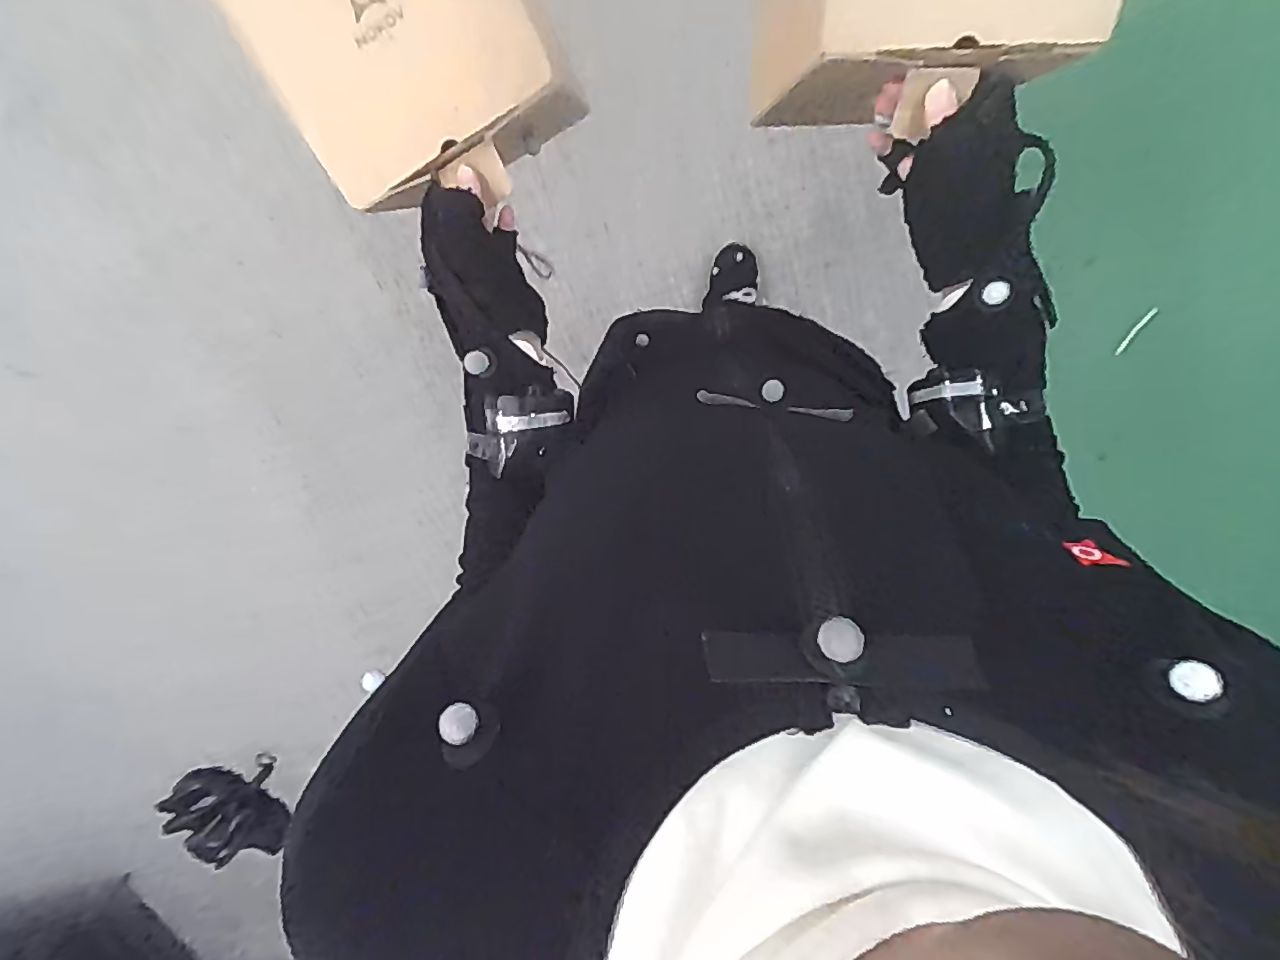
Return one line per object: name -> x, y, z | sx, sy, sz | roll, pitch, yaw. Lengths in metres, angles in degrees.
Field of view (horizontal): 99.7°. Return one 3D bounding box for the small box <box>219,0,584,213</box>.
small box -> -0.157, -0.325, 0.396 | 0.168, 0.176, 0.179 | -24, 114, 15
